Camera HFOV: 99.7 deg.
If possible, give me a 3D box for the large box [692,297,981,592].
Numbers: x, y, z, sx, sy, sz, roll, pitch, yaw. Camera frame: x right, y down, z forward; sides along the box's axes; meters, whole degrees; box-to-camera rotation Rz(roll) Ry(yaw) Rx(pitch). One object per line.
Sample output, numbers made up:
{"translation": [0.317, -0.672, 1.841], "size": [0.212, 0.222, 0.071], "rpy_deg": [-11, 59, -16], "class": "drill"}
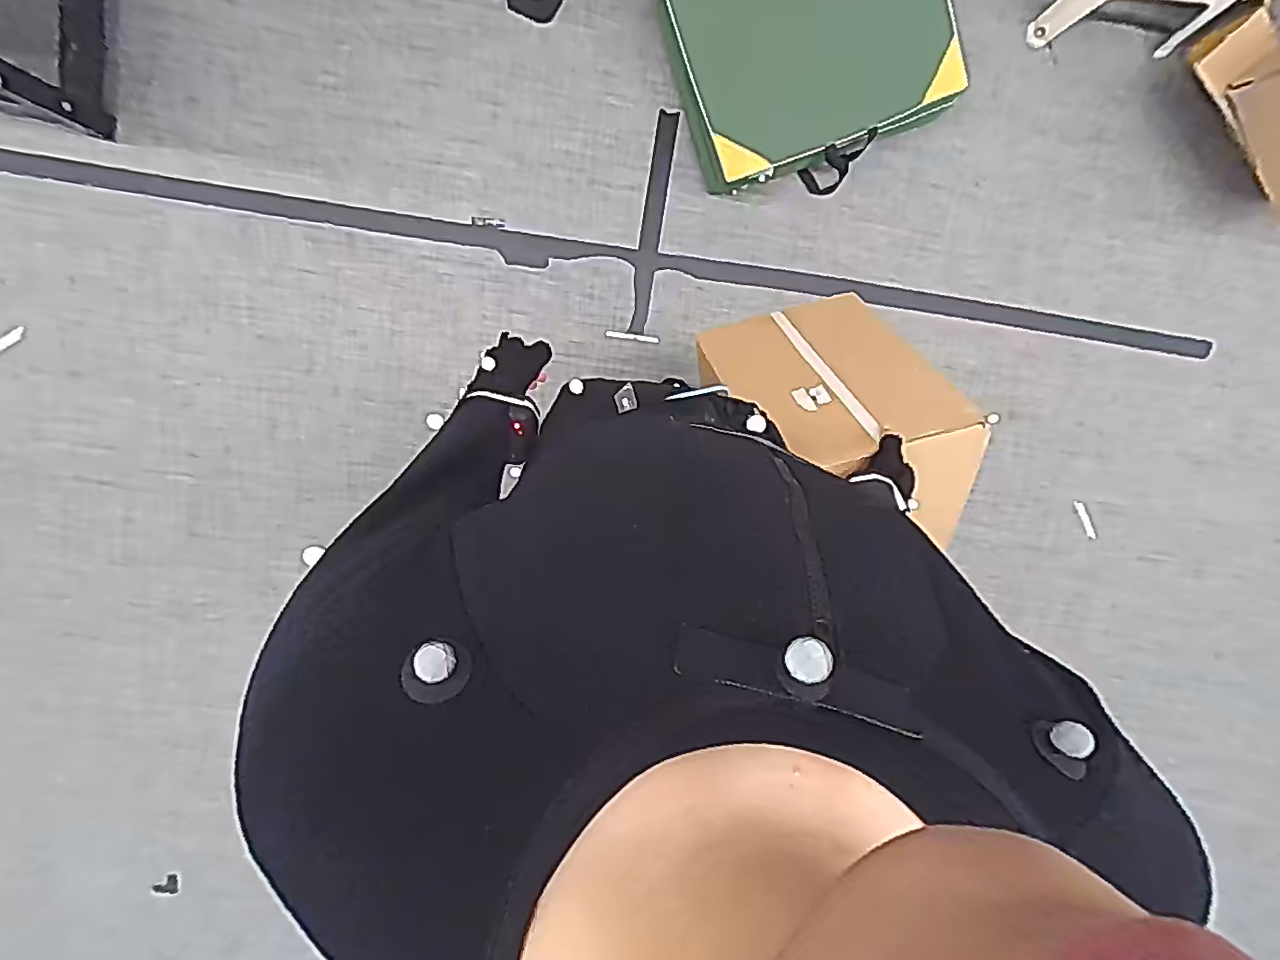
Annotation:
{"translation": [0.308, -0.073, 0.986], "size": [0.320, 0.408, 0.320], "rpy_deg": [-16, 136, -1], "class": "large box"}
